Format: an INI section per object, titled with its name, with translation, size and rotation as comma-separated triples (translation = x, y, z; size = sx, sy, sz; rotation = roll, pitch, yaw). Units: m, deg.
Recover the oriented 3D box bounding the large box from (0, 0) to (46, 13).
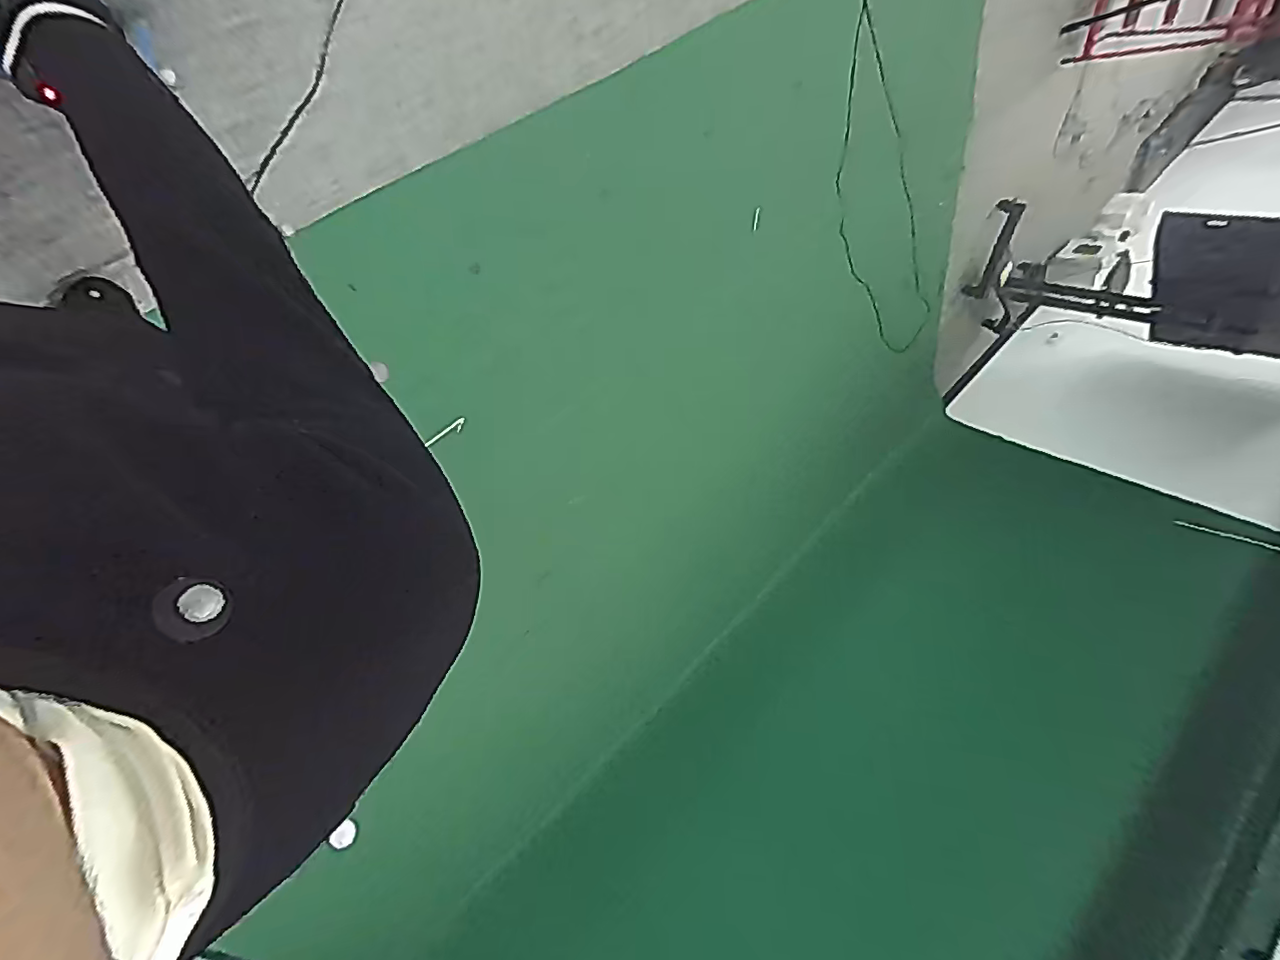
[large box]
translation = -0.897, -0.828, 0.571
size = 0.320, 0.320, 0.408
rotation = -6, 117, -43
